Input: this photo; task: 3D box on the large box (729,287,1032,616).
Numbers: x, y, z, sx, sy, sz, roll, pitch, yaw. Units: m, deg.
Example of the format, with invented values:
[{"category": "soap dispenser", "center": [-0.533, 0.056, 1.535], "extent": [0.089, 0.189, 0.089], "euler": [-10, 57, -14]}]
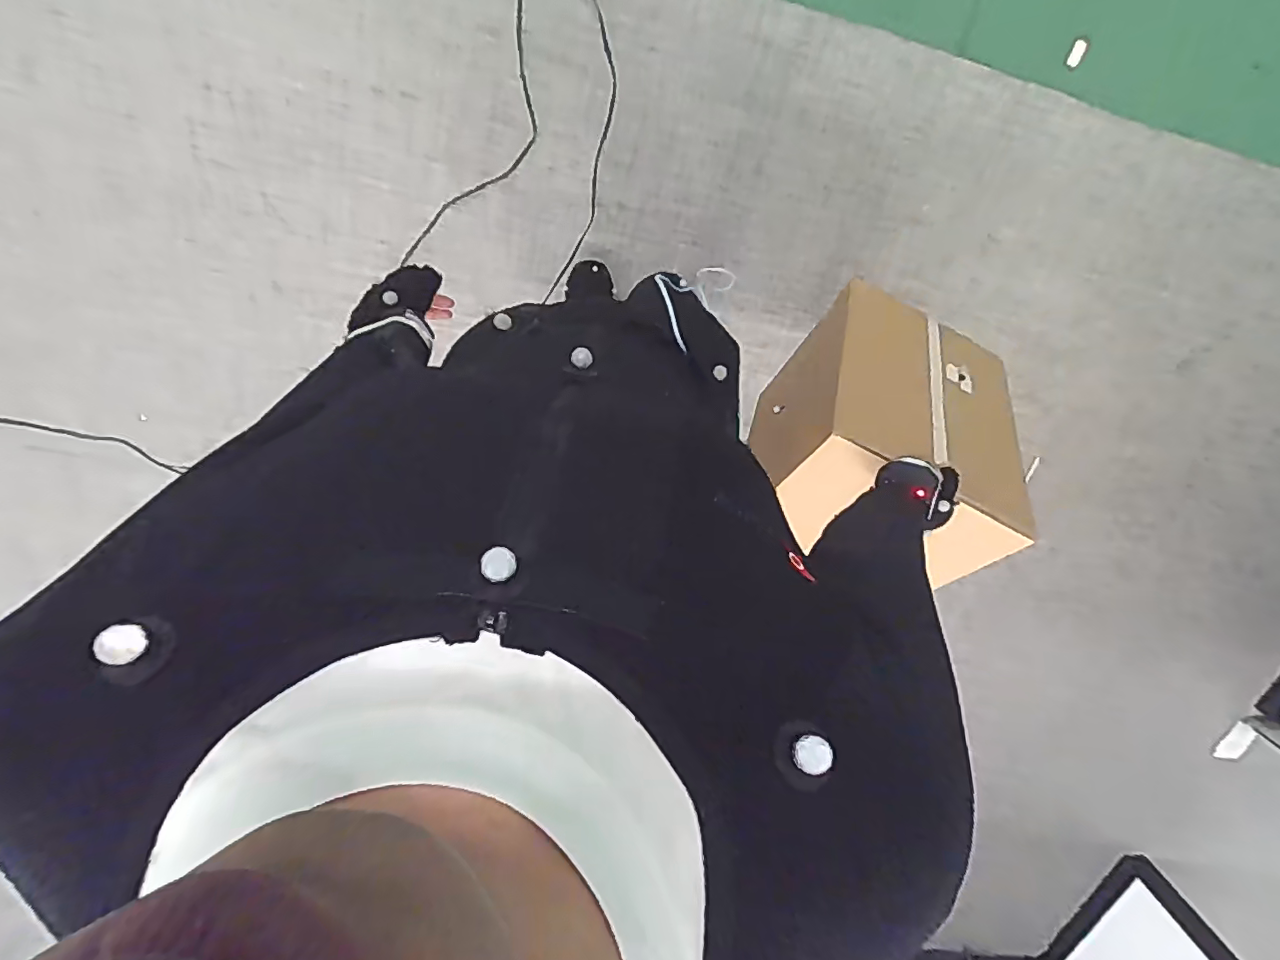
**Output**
[{"category": "large box", "center": [0.386, -0.045, 0.933], "extent": [0.320, 0.408, 0.320], "euler": [28, 141, -6]}]
